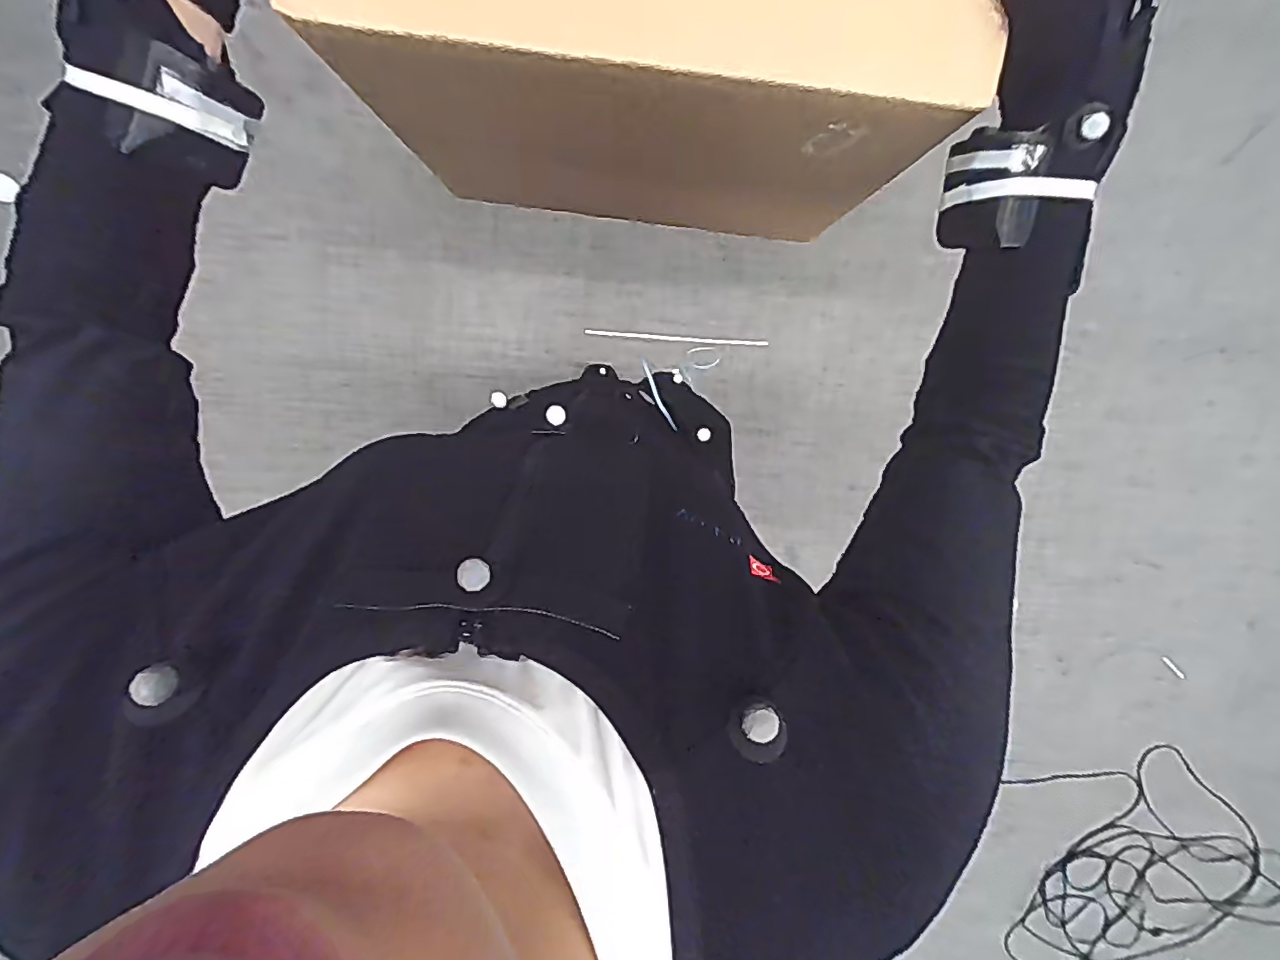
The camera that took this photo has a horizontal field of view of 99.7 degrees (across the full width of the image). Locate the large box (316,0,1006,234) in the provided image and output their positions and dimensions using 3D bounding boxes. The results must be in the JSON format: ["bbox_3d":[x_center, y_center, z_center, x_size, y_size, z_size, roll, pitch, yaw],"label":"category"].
[{"bbox_3d":[0.019,-0.416,0.435,0.408,0.320,0.320,5,101,-3],"label":"large box"}]
